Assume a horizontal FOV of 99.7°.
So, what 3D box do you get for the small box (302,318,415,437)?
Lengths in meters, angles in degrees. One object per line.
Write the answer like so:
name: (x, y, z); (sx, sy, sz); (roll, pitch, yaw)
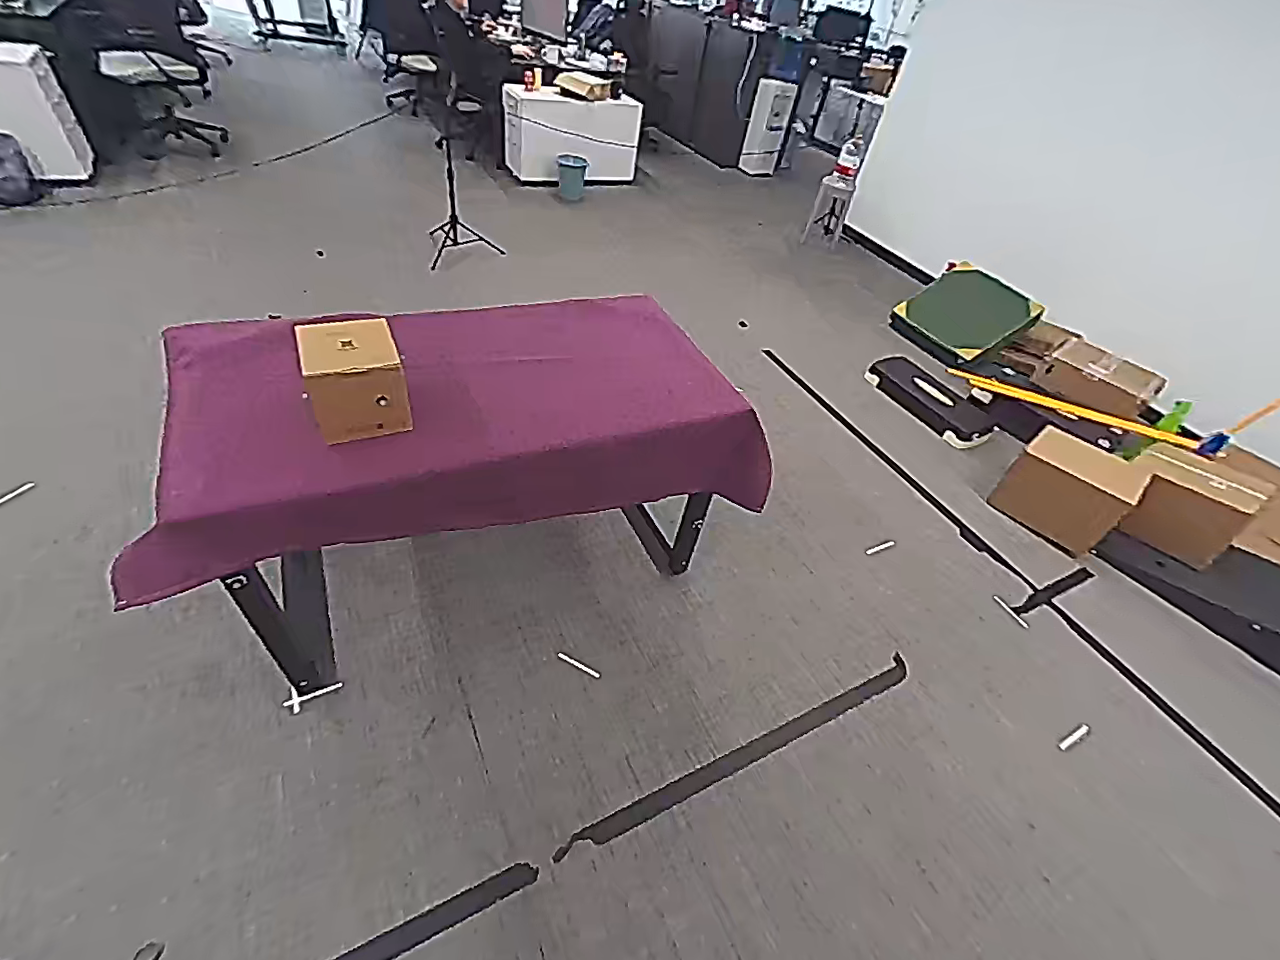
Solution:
small box: (-0.563, -0.202, 1.092); (0.168, 0.176, 0.179); (-13, 50, -25)
